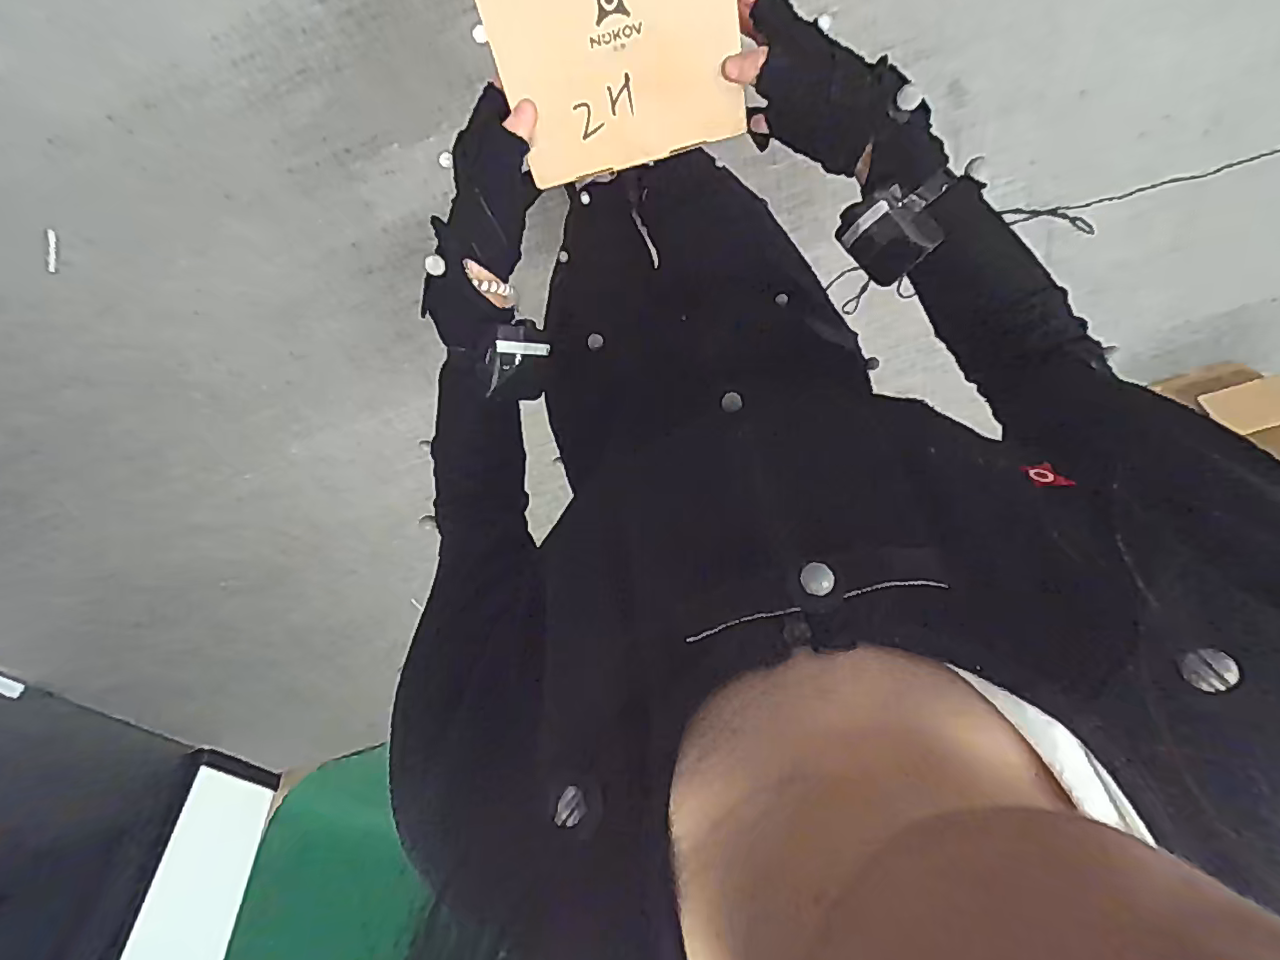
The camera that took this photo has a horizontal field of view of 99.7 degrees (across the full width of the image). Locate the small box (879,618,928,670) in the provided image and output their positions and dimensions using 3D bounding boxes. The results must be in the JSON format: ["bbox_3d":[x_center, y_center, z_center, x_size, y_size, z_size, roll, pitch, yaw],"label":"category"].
[{"bbox_3d":[1.338,0.834,2.753,0.179,0.176,0.168,-21,133,7],"label":"small box"}]

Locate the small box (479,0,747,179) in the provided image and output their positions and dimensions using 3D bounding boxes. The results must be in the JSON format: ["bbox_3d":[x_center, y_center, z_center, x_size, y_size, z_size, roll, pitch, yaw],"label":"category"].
[{"bbox_3d":[-0.024,-0.357,0.404,0.168,0.176,0.179,-12,132,6],"label":"small box"}]
